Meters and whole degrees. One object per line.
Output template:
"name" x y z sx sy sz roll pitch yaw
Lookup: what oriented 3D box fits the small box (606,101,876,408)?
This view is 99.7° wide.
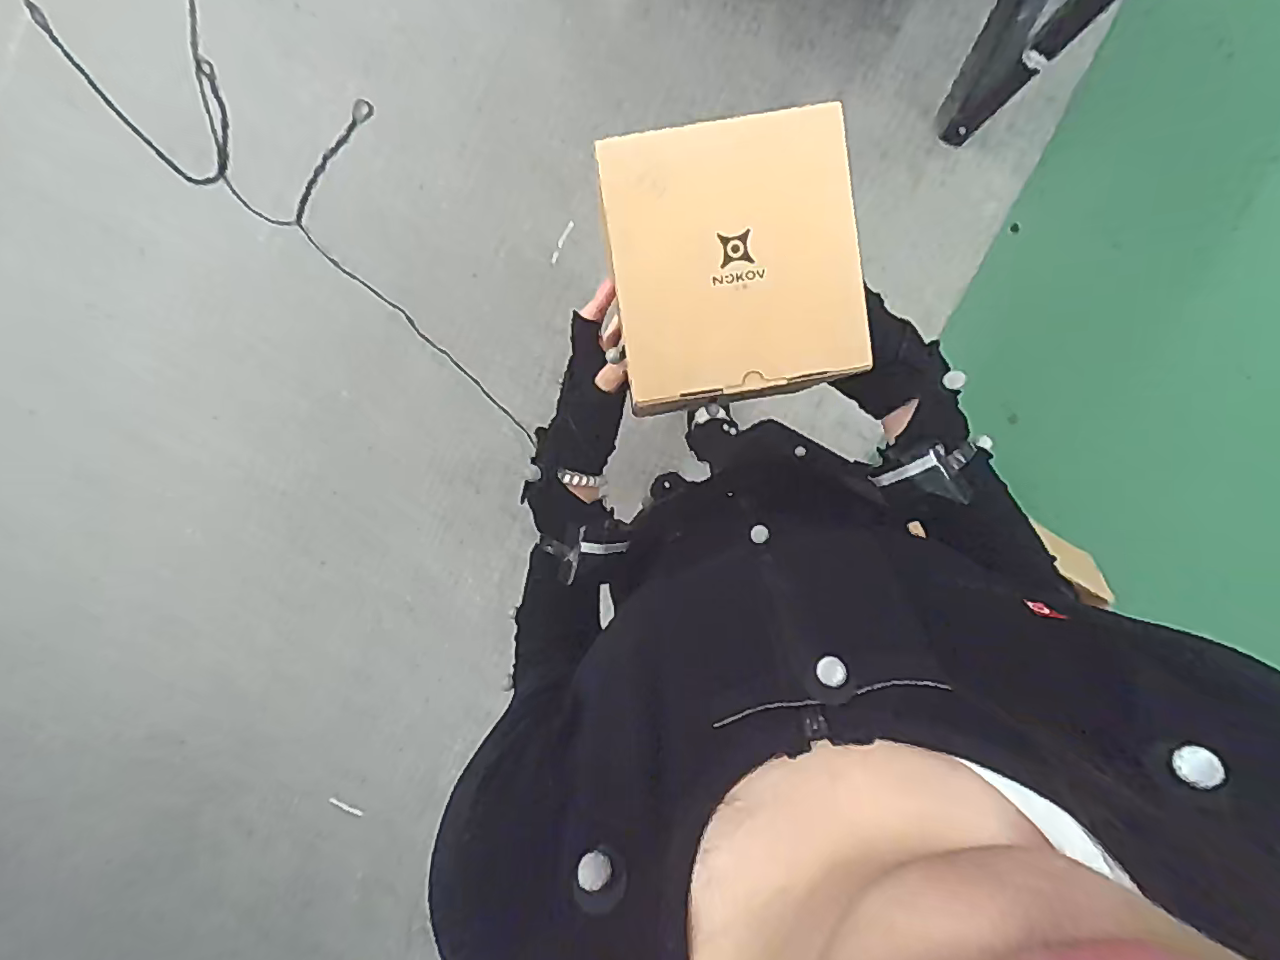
"small box" 0.065 -0.159 0.439 0.168 0.176 0.179 -10 96 -1
